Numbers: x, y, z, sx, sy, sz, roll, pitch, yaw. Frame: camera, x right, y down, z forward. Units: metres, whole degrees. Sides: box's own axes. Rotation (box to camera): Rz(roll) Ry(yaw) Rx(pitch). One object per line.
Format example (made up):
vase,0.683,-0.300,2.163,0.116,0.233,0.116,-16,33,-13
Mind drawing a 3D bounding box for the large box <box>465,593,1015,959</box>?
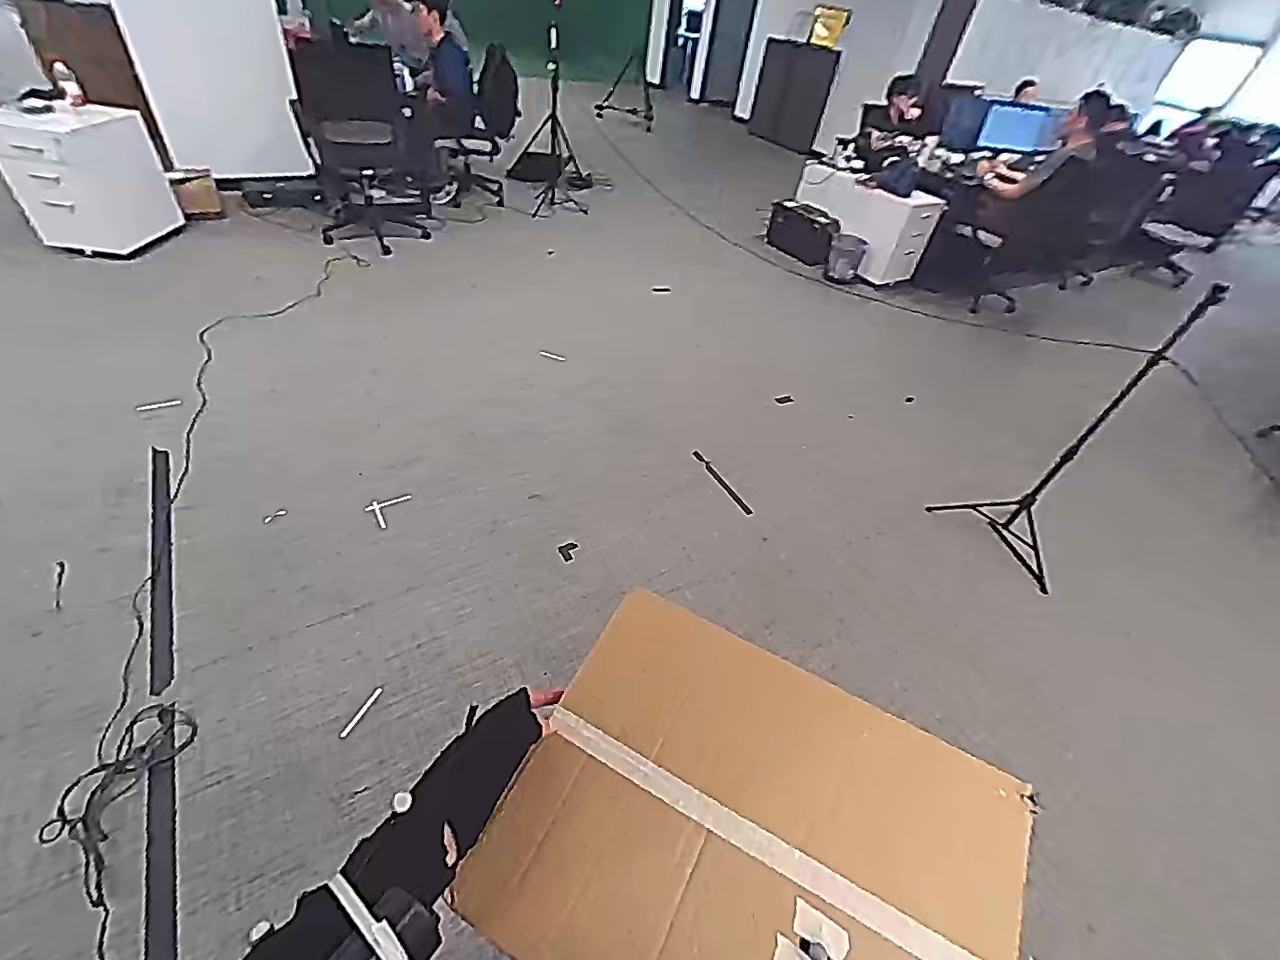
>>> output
large box,0.094,0.394,0.584,0.408,0.320,0.320,25,56,16
